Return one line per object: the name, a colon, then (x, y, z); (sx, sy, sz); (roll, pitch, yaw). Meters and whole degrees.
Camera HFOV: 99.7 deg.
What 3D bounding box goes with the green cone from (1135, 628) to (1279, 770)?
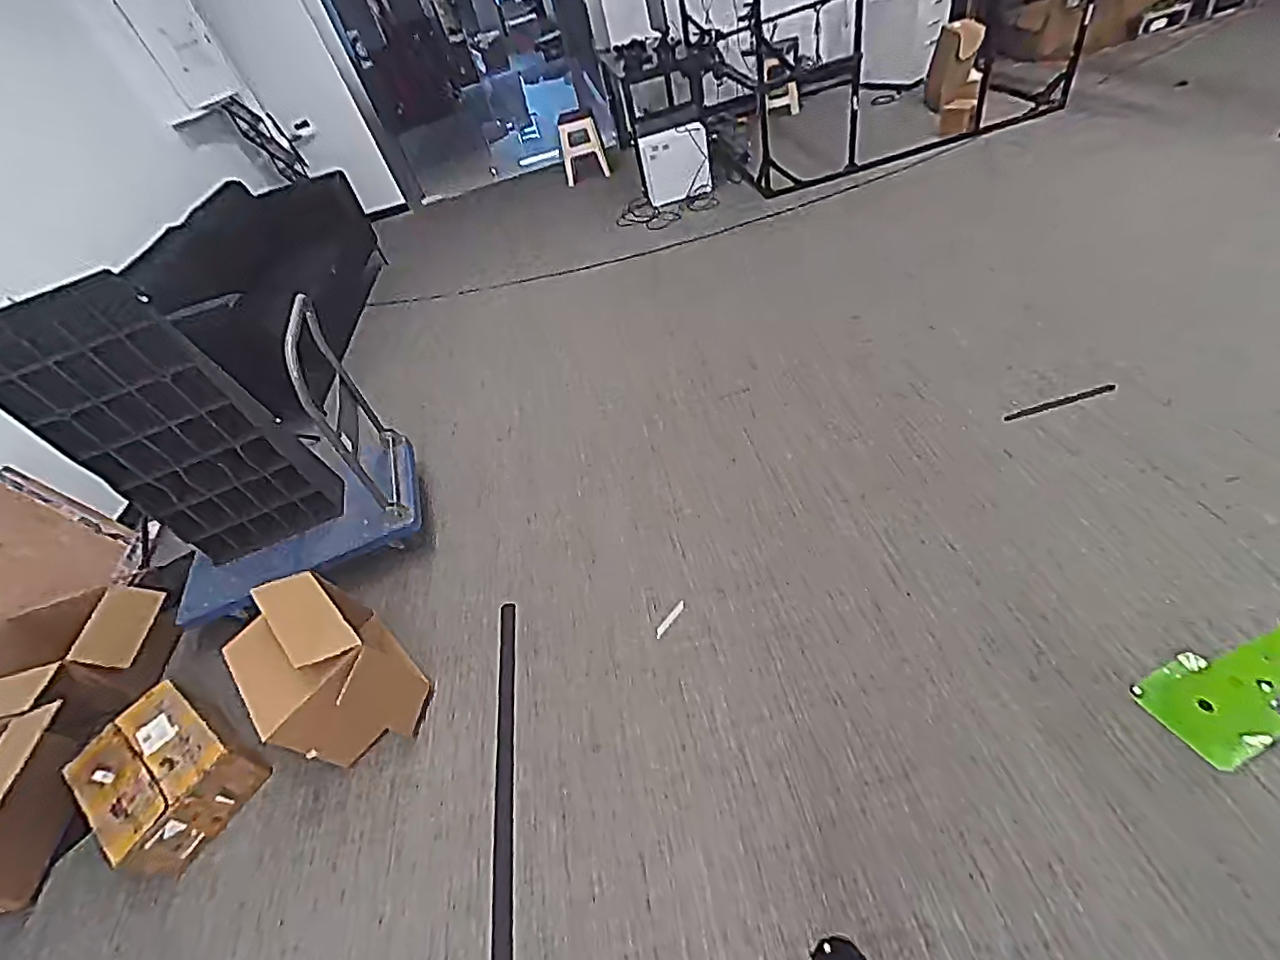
green cone: (1.205, 0.379, 1.056); (0.202, 0.368, 0.200); (-26, 45, -9)
